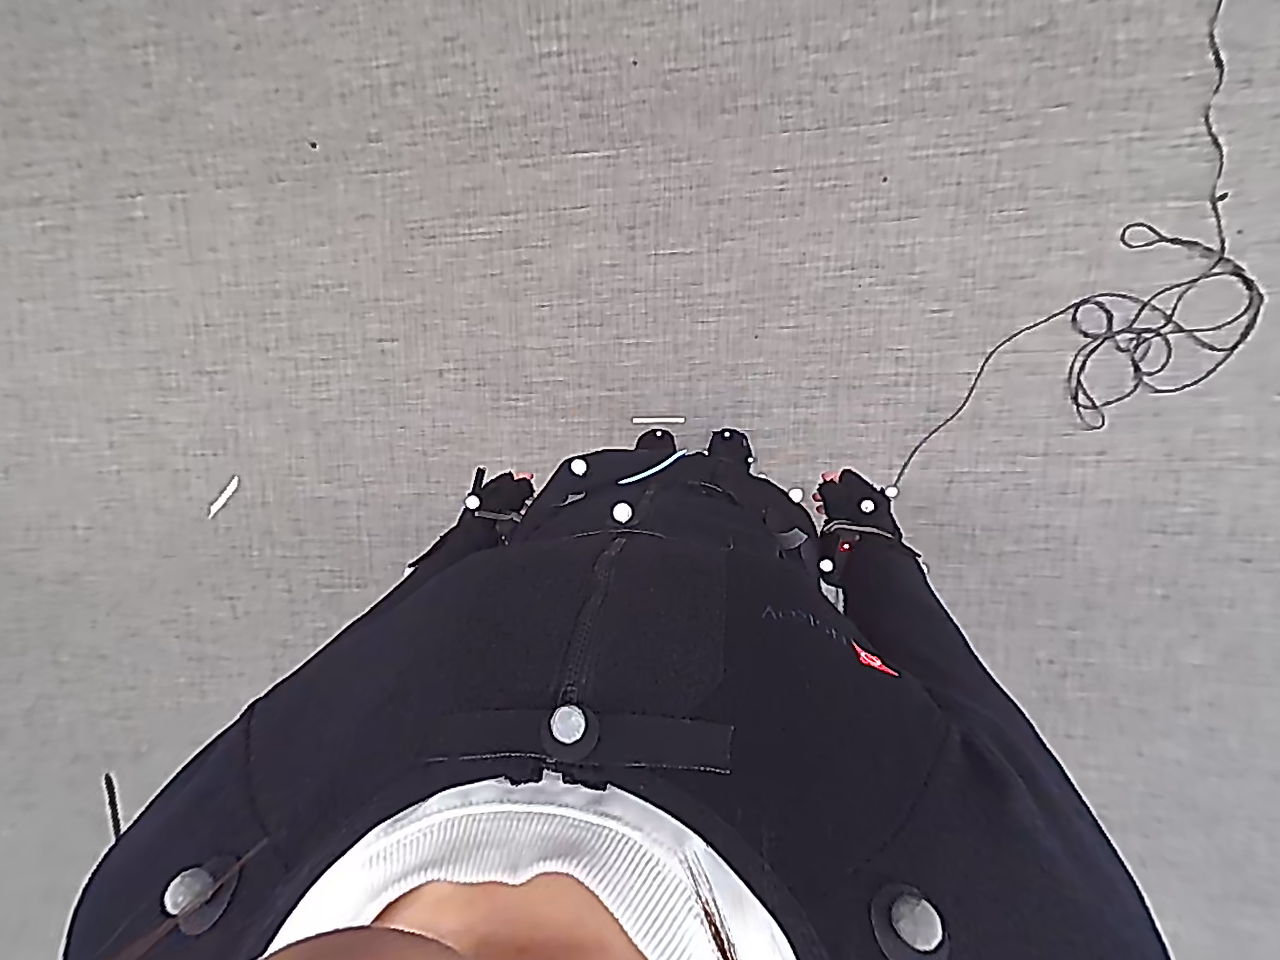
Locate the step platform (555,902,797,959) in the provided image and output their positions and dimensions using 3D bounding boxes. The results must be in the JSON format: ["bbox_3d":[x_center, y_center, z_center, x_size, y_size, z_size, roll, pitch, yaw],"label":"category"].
[{"bbox_3d":[0.098,1.411,1.510,0.684,0.204,0.286,-2,96,9],"label":"step platform"}]
